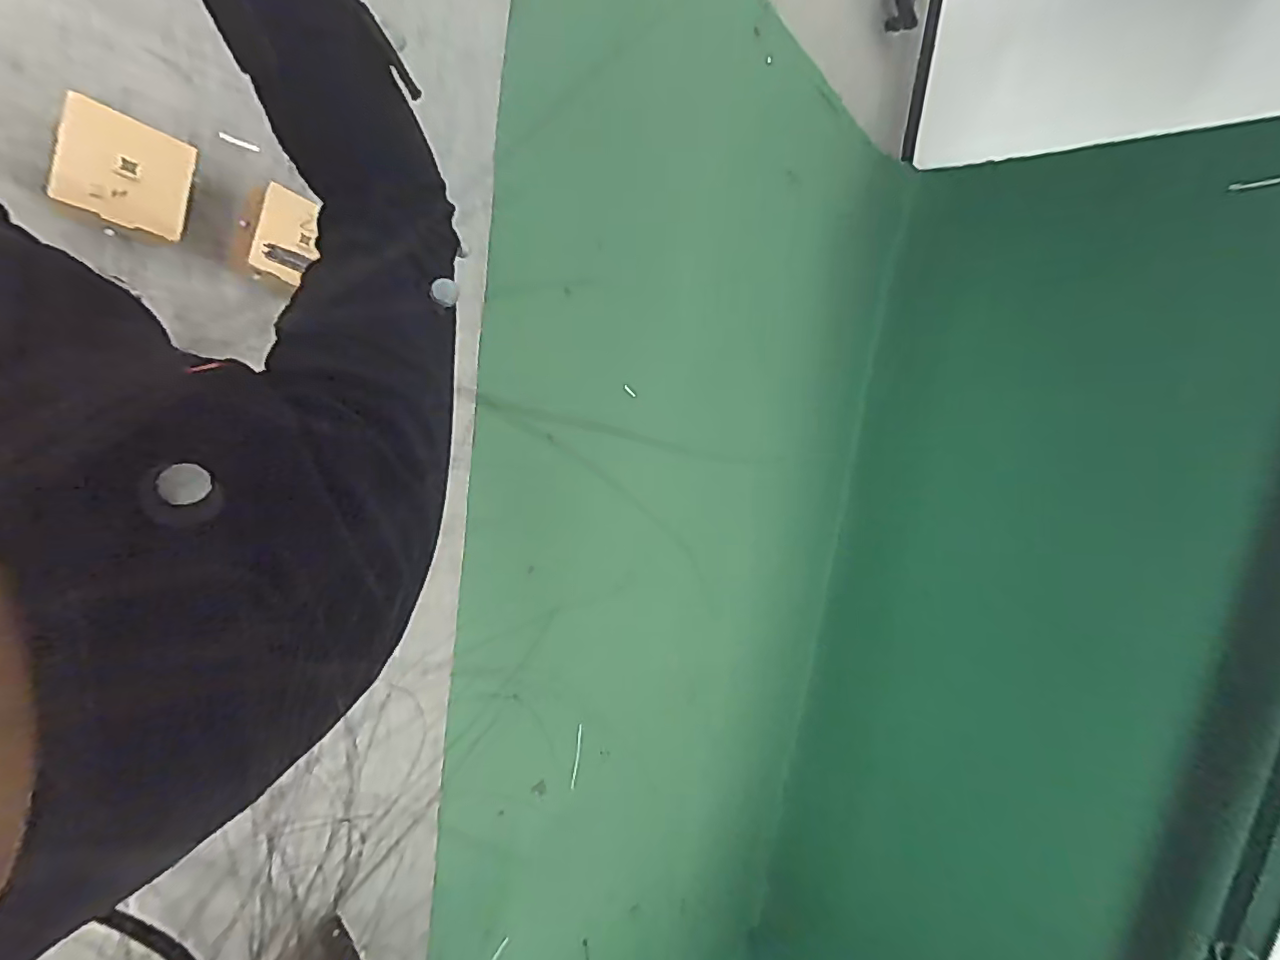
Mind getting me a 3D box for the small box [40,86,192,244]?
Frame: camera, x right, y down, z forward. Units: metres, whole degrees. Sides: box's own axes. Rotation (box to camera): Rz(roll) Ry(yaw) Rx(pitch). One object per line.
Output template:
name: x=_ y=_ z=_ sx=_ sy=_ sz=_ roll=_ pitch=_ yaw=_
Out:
small box: x=-0.934 y=-0.544 z=0.963 sx=0.168 sy=0.176 sz=0.179 roll=11 pitch=94 yaw=-49
